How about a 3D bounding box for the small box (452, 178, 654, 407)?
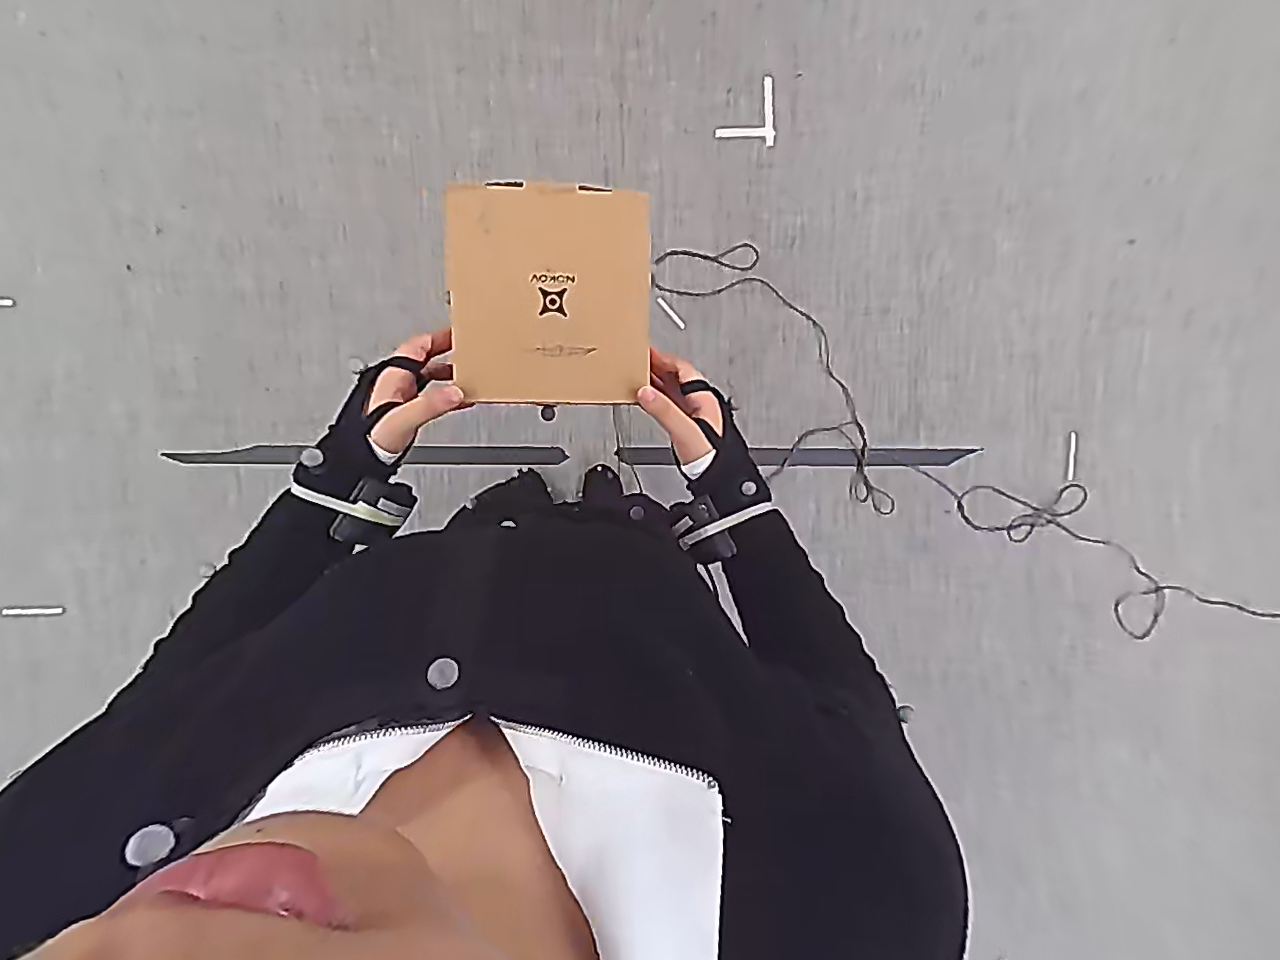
[{"bbox_3d":[-0.081,-0.162,0.525,0.168,0.176,0.179,0,98,-7],"label":"small box"}]
